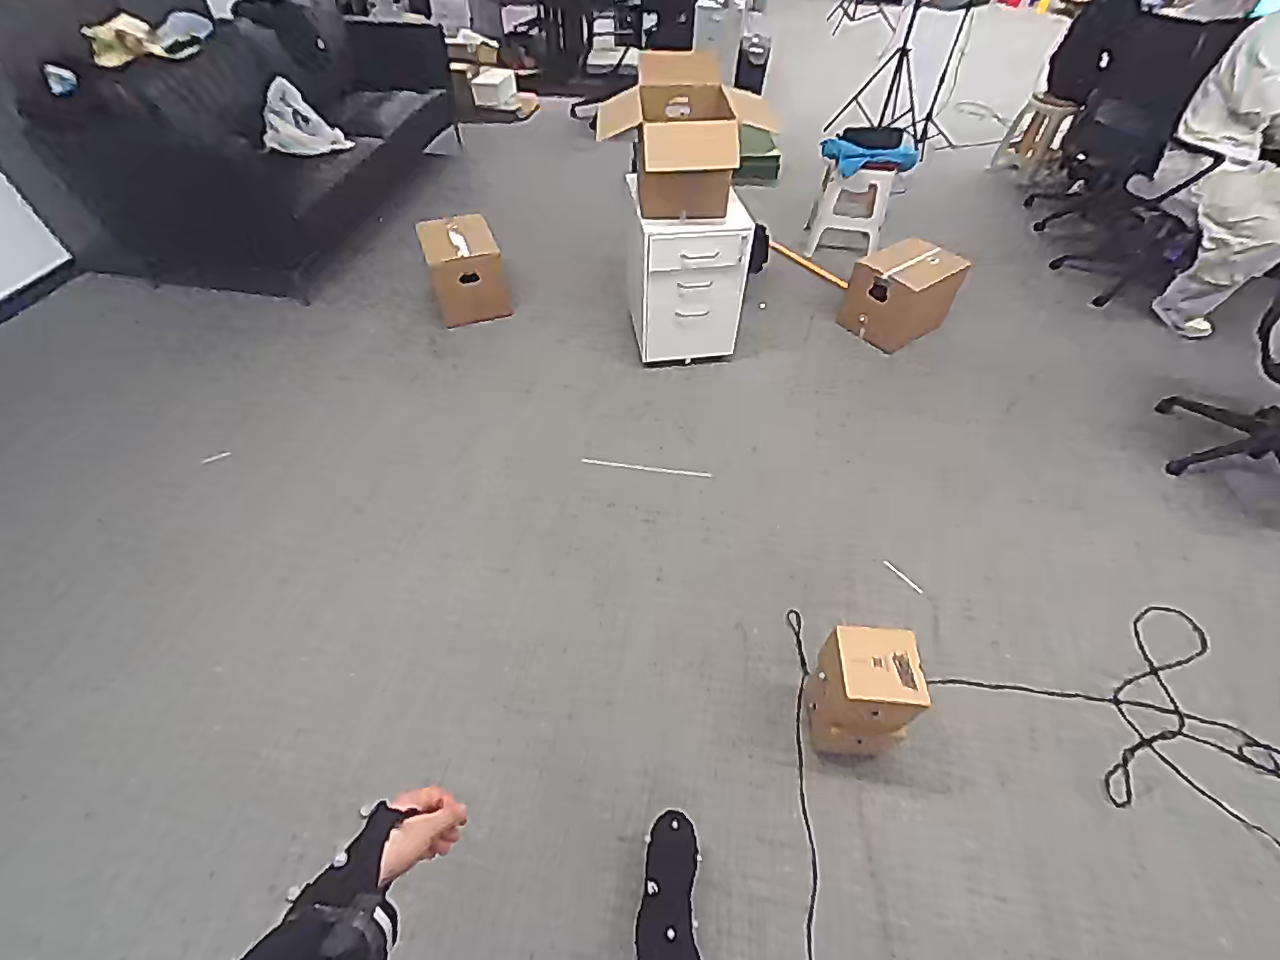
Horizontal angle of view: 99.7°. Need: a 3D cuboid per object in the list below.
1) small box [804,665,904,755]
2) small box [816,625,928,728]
[{"bbox_3d":[0.514,0.568,1.333,0.179,0.176,0.168,1,49,0],"label":"small box"},{"bbox_3d":[0.513,0.447,1.221,0.179,0.176,0.168,3,48,4],"label":"small box"}]
